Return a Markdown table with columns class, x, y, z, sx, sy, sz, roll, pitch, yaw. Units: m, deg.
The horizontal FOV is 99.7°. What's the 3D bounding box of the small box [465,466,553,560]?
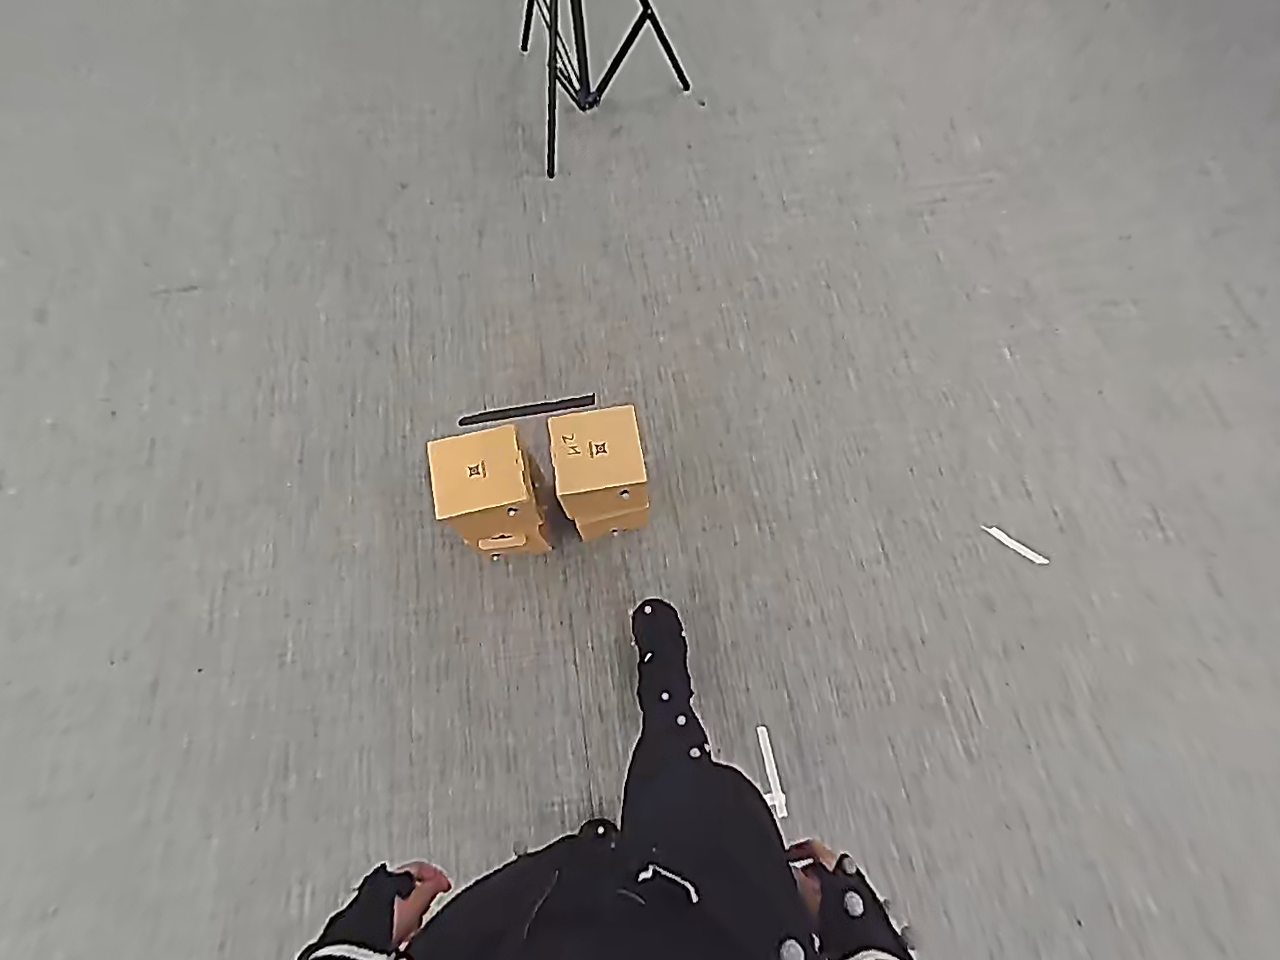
| class | x | y | z | sx | sy | sz | roll | pitch | yaw |
| --- | --- | --- | --- | --- | --- | --- | --- | --- | --- |
| small box | -0.300 | 0.084 | 1.259 | 0.168 | 0.176 | 0.179 | -7 | 70 | -1 |
